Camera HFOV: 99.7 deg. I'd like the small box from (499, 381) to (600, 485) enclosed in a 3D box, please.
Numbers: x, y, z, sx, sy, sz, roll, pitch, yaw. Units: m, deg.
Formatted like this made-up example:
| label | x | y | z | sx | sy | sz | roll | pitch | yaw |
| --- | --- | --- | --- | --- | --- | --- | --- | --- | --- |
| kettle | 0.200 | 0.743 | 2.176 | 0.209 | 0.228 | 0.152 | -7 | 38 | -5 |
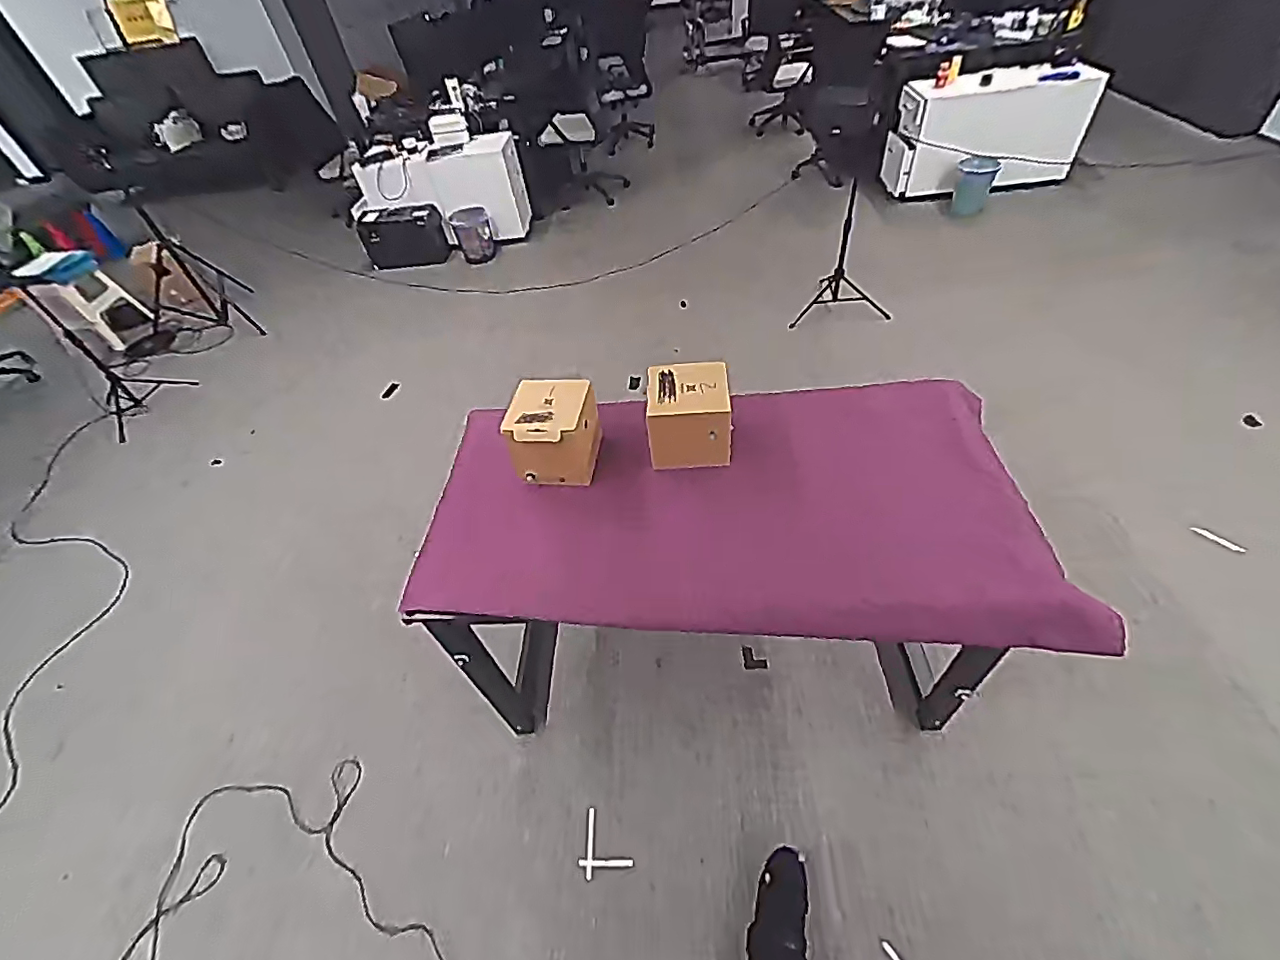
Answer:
| label | x | y | z | sx | sy | sz | roll | pitch | yaw |
| --- | --- | --- | --- | --- | --- | --- | --- | --- | --- |
| small box | -0.193 | -0.103 | 1.219 | 0.168 | 0.176 | 0.179 | 1 | 48 | 9 |
